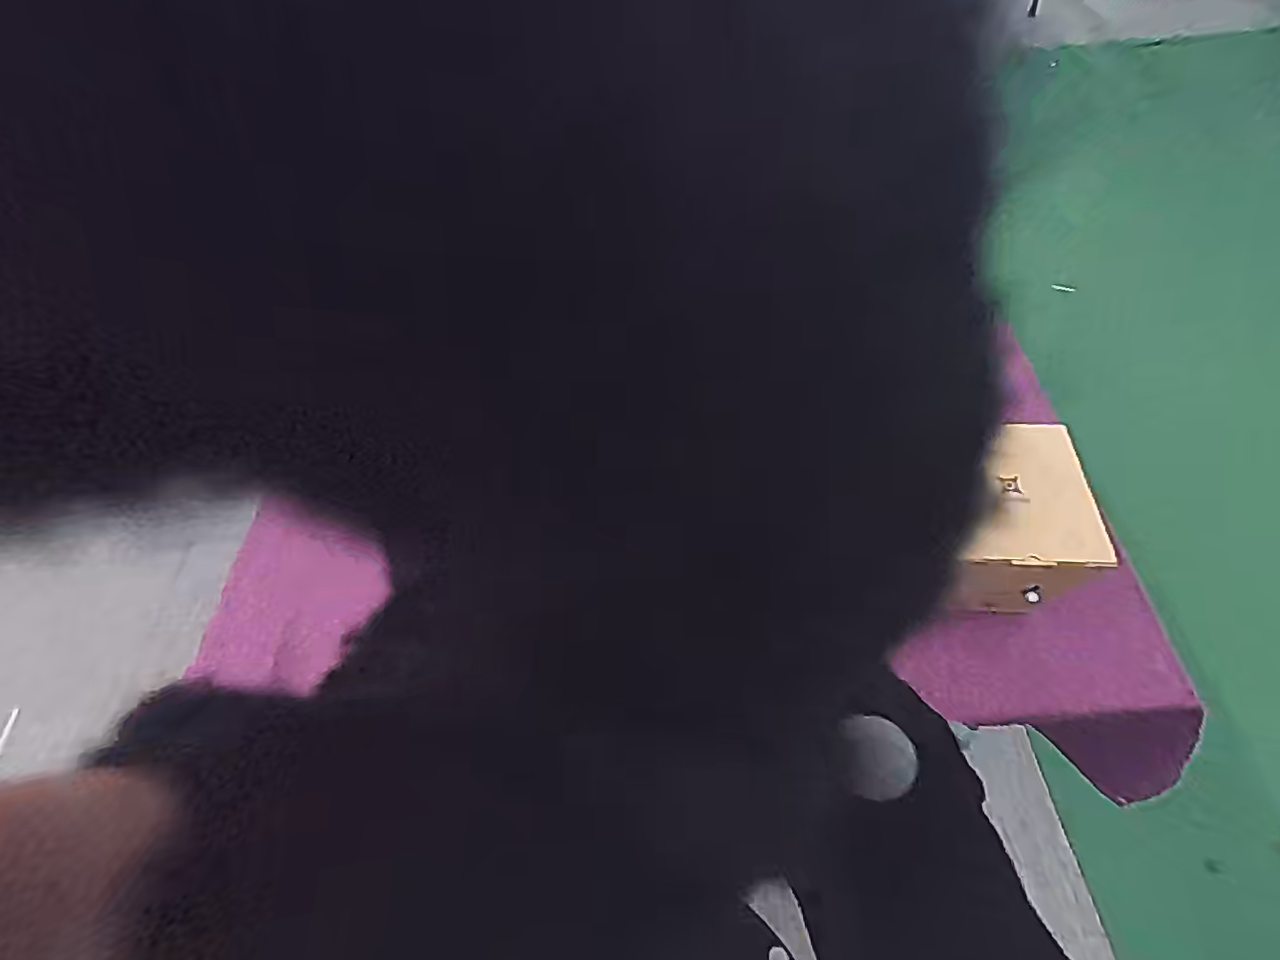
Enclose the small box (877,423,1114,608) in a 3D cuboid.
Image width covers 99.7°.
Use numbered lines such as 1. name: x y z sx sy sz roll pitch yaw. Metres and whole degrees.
1. small box: 0.408 0.049 0.660 0.168 0.176 0.179 2 60 5
